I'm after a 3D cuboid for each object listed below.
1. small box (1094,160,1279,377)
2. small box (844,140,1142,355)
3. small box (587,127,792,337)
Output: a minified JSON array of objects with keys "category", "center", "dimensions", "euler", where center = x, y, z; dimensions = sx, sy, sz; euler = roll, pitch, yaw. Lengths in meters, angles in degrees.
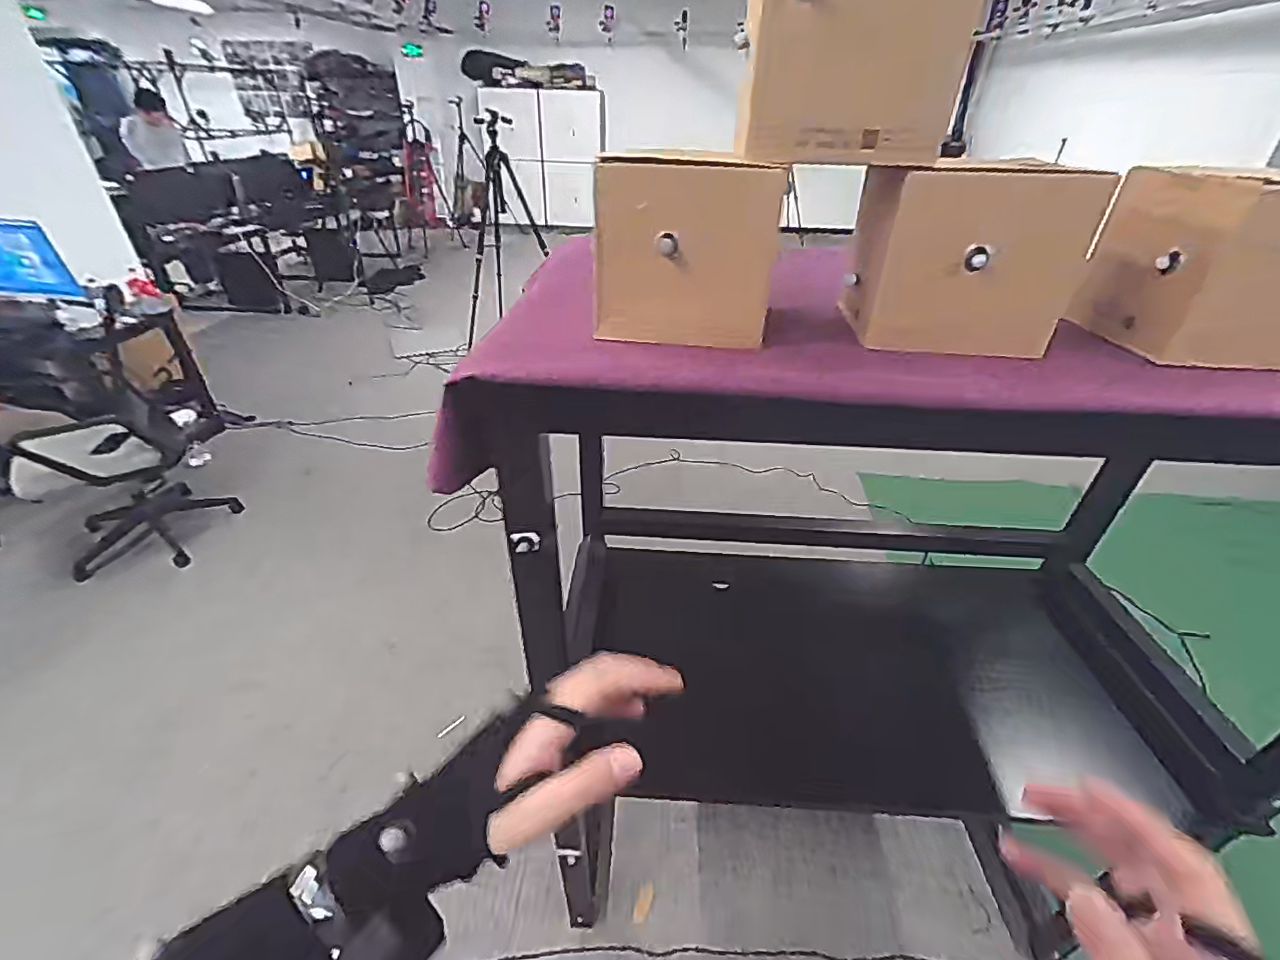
[{"category":"small box","center":[0.601,-0.207,0.529],"dimensions":[0.179,0.176,0.168],"euler":[5,35,3]},{"category":"small box","center":[0.326,-0.237,0.548],"dimensions":[0.179,0.176,0.168],"euler":[6,35,7]},{"category":"small box","center":[0.047,-0.259,0.559],"dimensions":[0.179,0.176,0.168],"euler":[7,36,4]}]
